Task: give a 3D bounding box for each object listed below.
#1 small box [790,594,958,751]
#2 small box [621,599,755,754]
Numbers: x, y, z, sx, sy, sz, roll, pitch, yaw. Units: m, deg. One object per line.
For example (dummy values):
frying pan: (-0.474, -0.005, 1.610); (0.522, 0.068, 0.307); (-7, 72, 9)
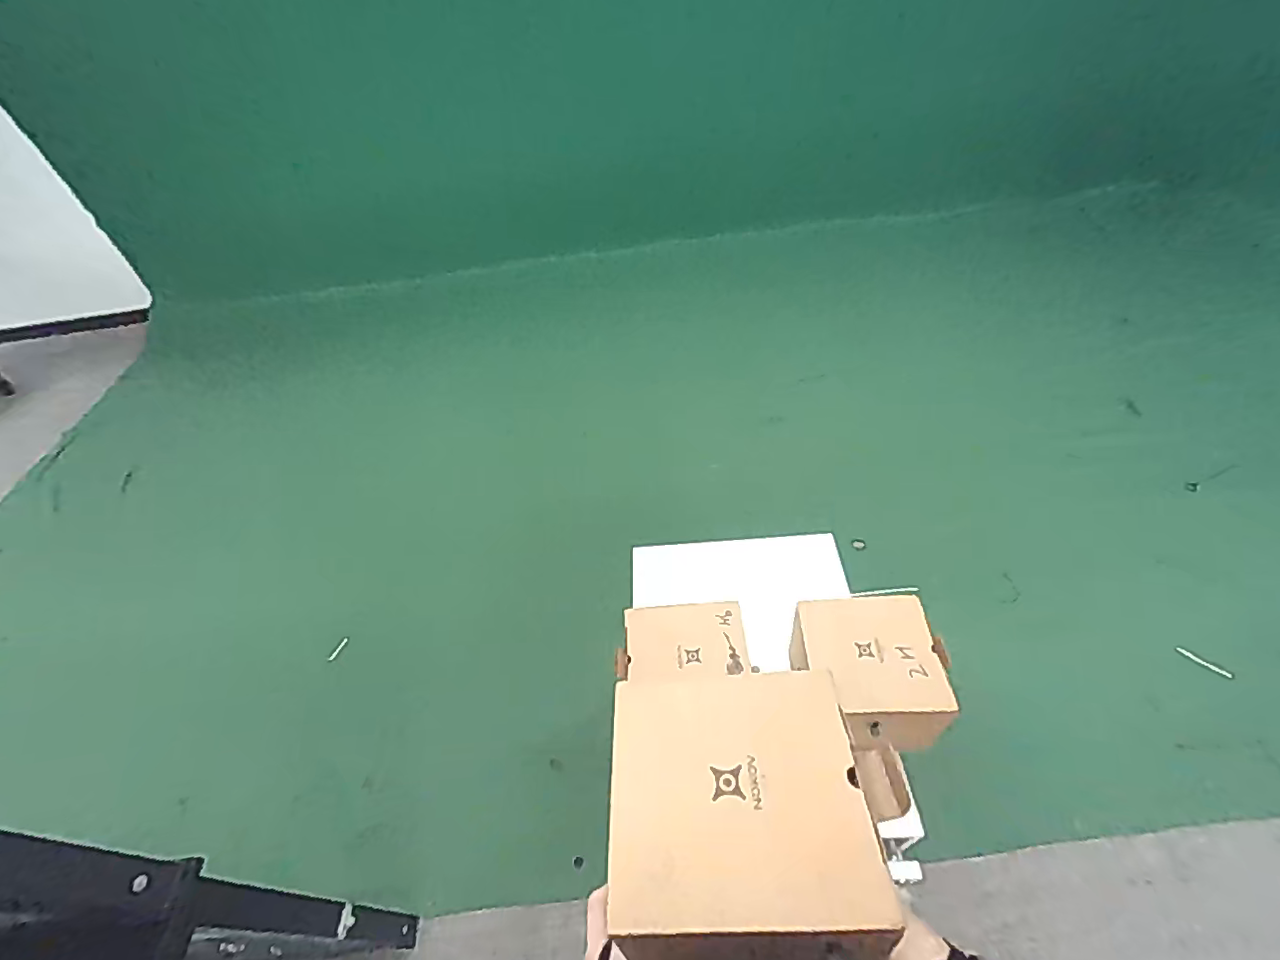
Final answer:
small box: (0.318, 0.282, 0.783); (0.179, 0.176, 0.168); (-3, 48, 5)
small box: (0.070, 0.298, 0.808); (0.179, 0.176, 0.168); (-5, 48, 3)
